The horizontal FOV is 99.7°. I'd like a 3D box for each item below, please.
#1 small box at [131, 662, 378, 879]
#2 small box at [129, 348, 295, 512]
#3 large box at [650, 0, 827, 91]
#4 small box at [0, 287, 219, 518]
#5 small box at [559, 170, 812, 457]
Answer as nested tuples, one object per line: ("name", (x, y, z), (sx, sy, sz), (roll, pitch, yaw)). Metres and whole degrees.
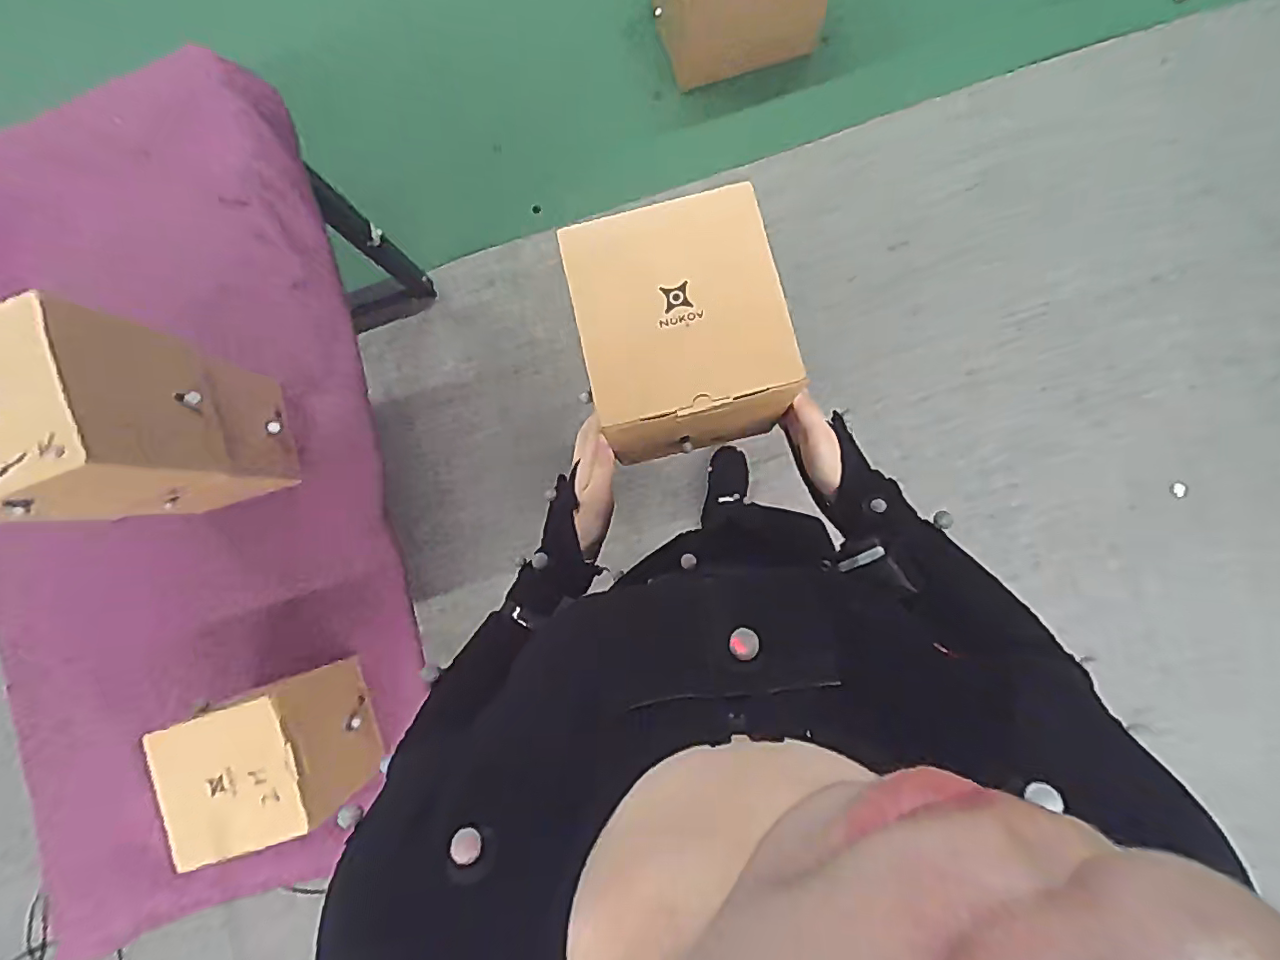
("small box", (-0.479, 0.356, 0.696), (0.179, 0.176, 0.168), (-19, 86, 3))
("small box", (-0.616, -0.055, 0.729), (0.179, 0.176, 0.168), (-16, 86, 2))
("large box", (0.252, -1.316, 1.405), (0.408, 0.320, 0.320), (-16, 86, 2))
("small box", (-0.597, -0.065, 0.565), (0.168, 0.176, 0.179), (-20, 86, 2))
("small box", (0.035, -0.134, 0.494), (0.168, 0.176, 0.179), (-14, 82, 2))
